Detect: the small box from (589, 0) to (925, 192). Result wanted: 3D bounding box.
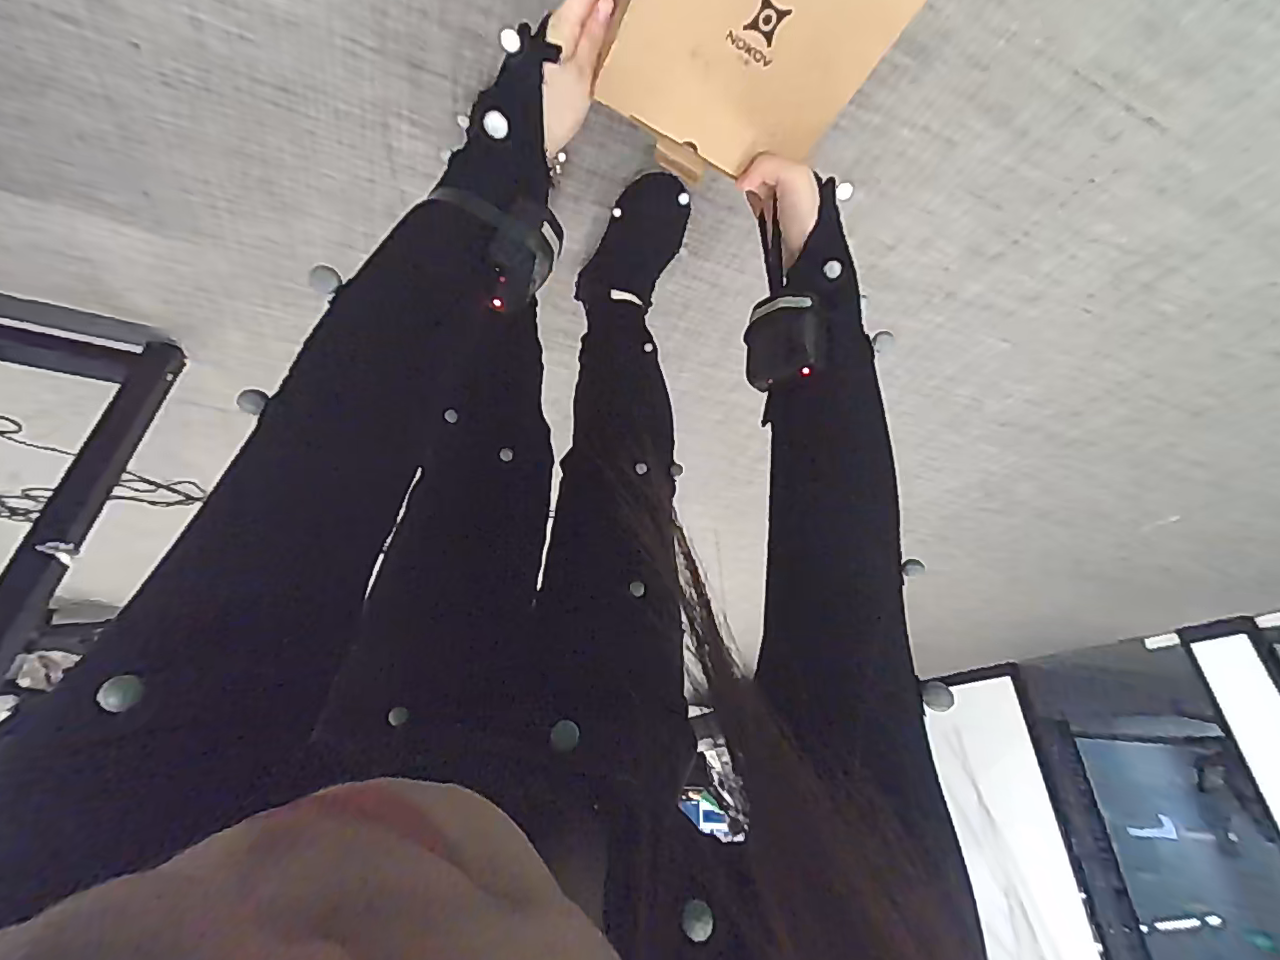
[{"bbox_3d":[0.078,-0.360,0.383,0.168,0.176,0.179,16,147,-23],"label":"small box"}]
